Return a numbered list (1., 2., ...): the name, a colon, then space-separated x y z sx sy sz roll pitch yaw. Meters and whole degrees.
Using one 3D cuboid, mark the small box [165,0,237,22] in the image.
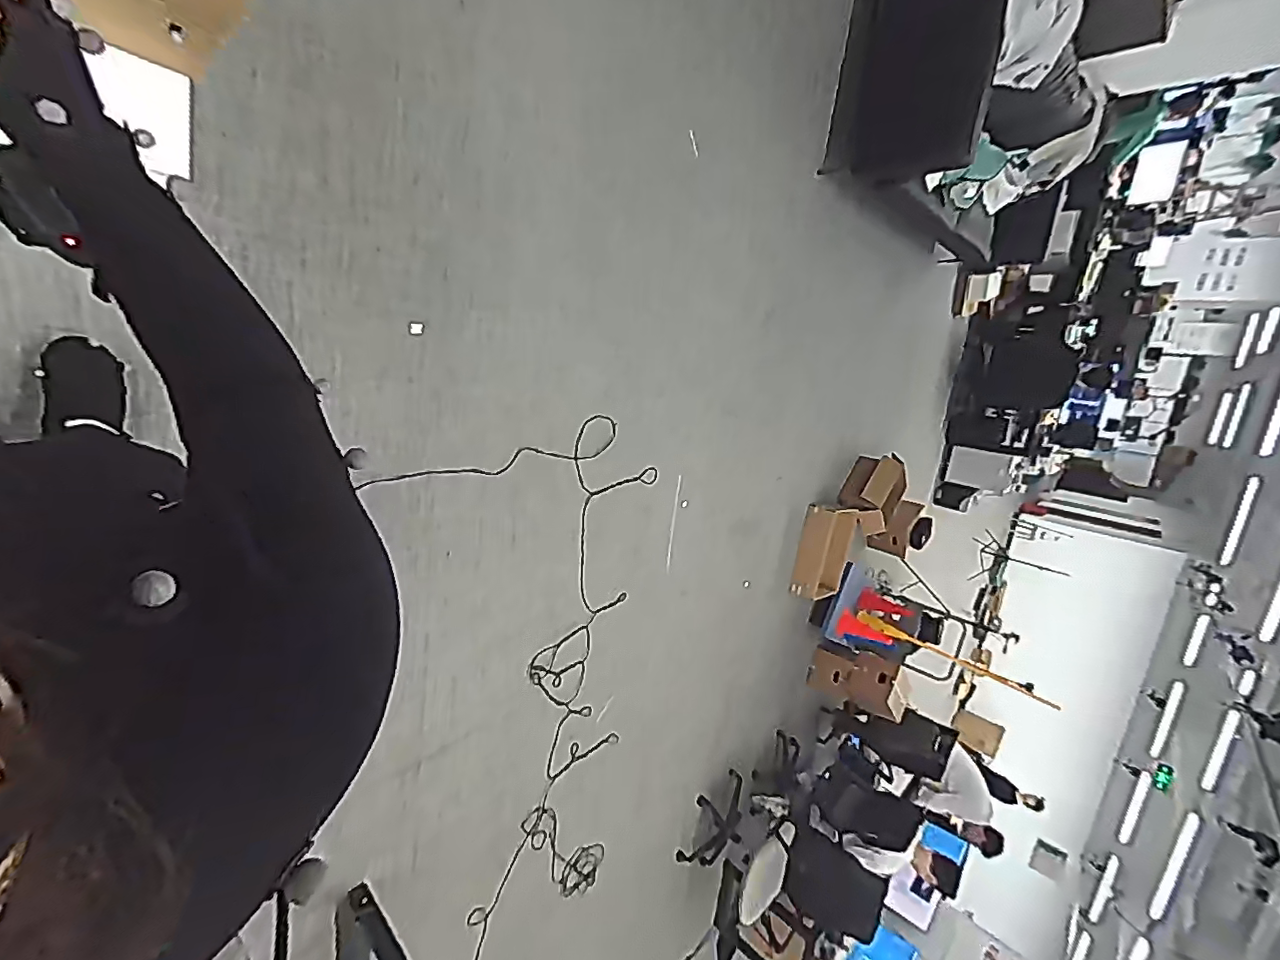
1. small box: -0.390 -0.501 0.404 0.168 0.176 0.179 -1 104 -49
